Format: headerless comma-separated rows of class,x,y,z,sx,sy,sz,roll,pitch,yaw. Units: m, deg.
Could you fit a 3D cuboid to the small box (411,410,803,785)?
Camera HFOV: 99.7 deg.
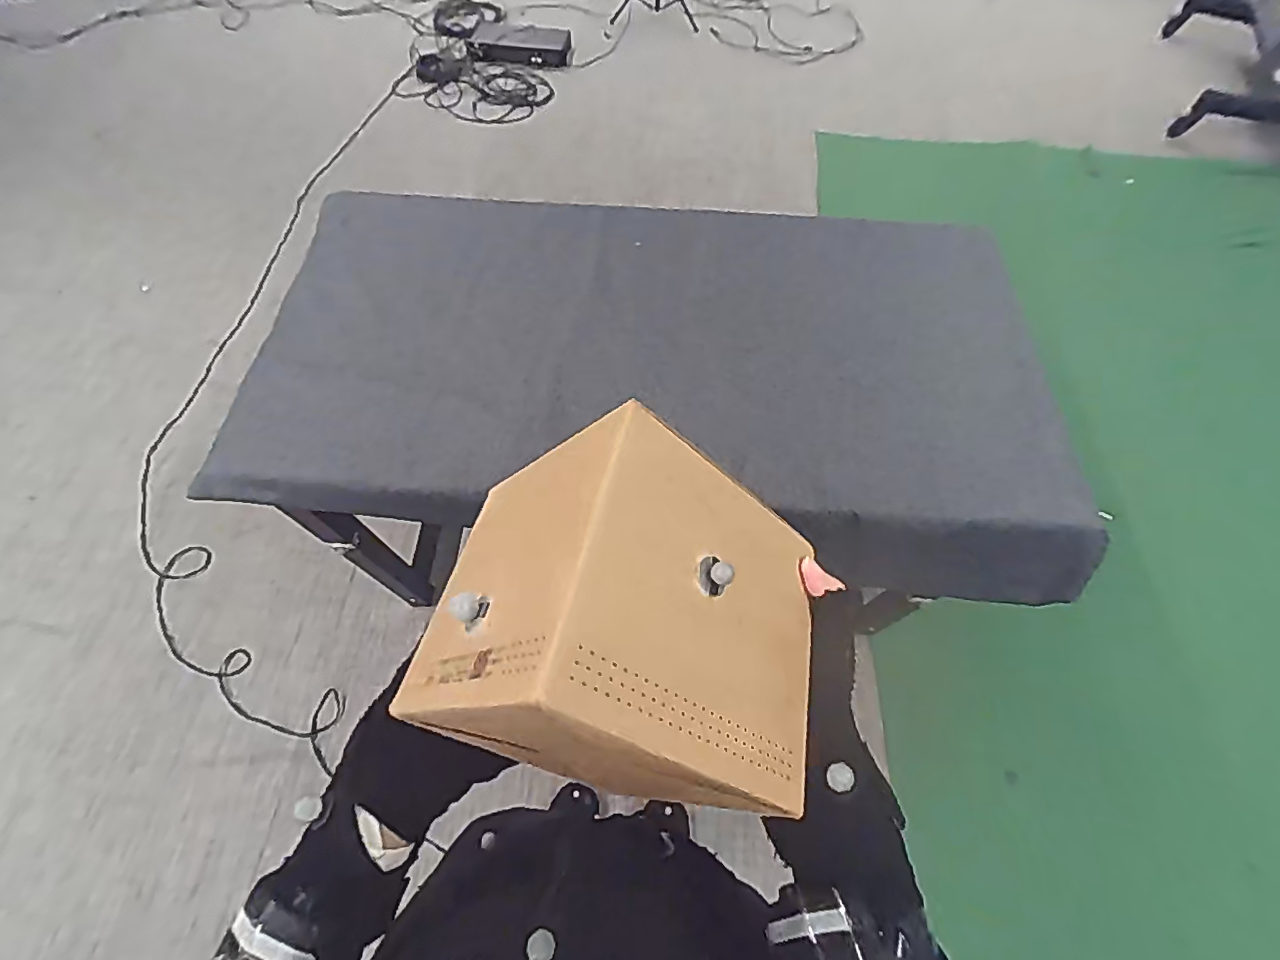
small box,-0.014,0.093,0.360,0.179,0.168,0.176,36,49,-28
